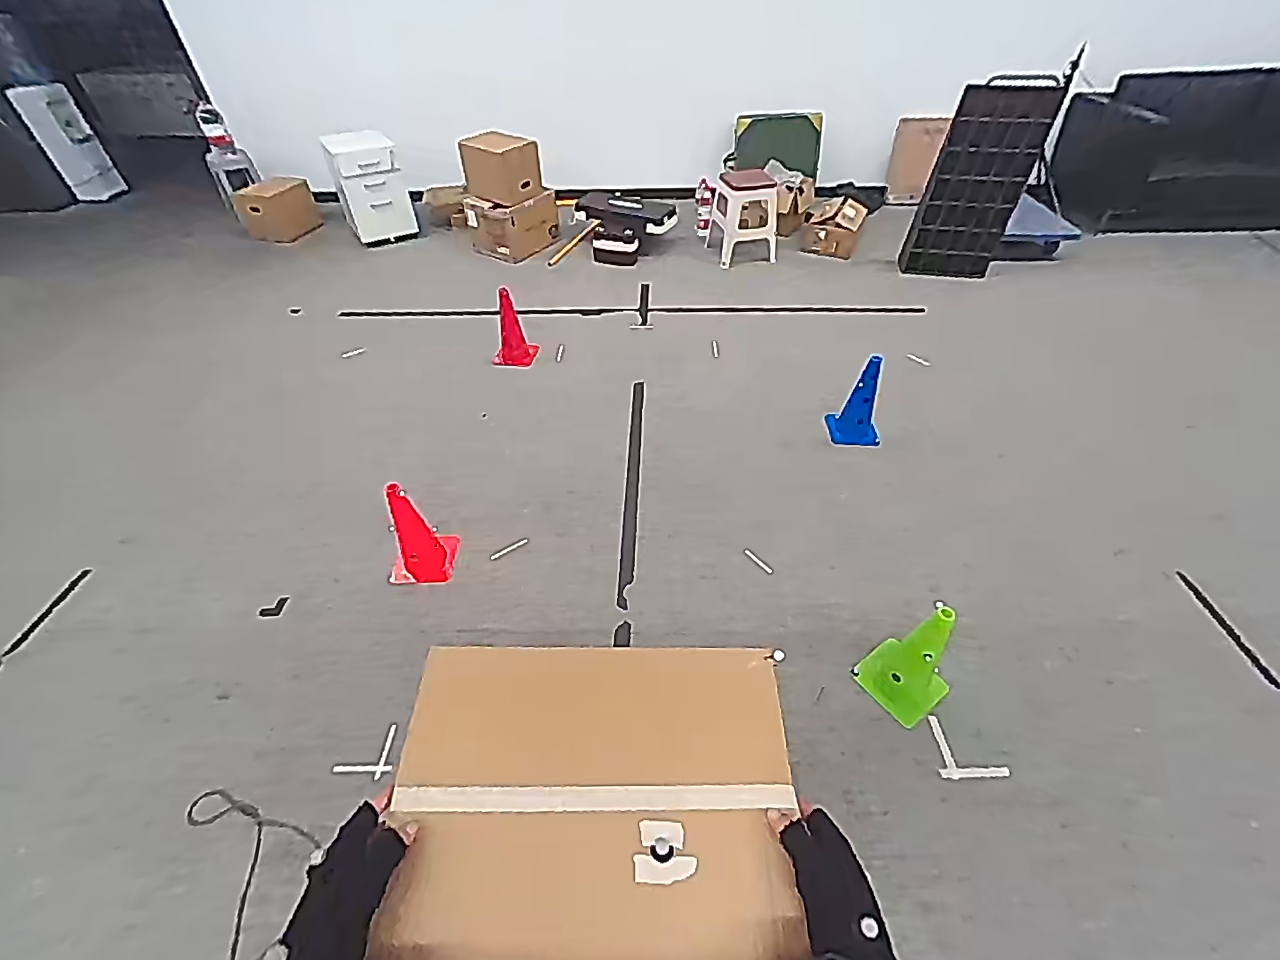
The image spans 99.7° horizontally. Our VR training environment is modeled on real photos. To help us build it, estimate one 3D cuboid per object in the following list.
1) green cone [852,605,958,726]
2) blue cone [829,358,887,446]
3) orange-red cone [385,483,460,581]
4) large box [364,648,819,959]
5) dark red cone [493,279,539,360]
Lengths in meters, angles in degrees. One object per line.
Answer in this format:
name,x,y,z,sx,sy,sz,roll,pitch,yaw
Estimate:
green cone,0.735,0.445,1.409,0.202,0.368,0.200,-26,51,-25
blue cone,0.921,-0.329,2.214,0.192,0.380,0.193,4,45,3
orange-red cone,-0.737,0.146,1.737,0.198,0.360,0.199,-2,46,0
large box,-0.048,0.416,0.664,0.408,0.320,0.320,1,51,-1
dark red cone,-0.628,-0.784,2.640,0.201,0.394,0.202,6,45,5
